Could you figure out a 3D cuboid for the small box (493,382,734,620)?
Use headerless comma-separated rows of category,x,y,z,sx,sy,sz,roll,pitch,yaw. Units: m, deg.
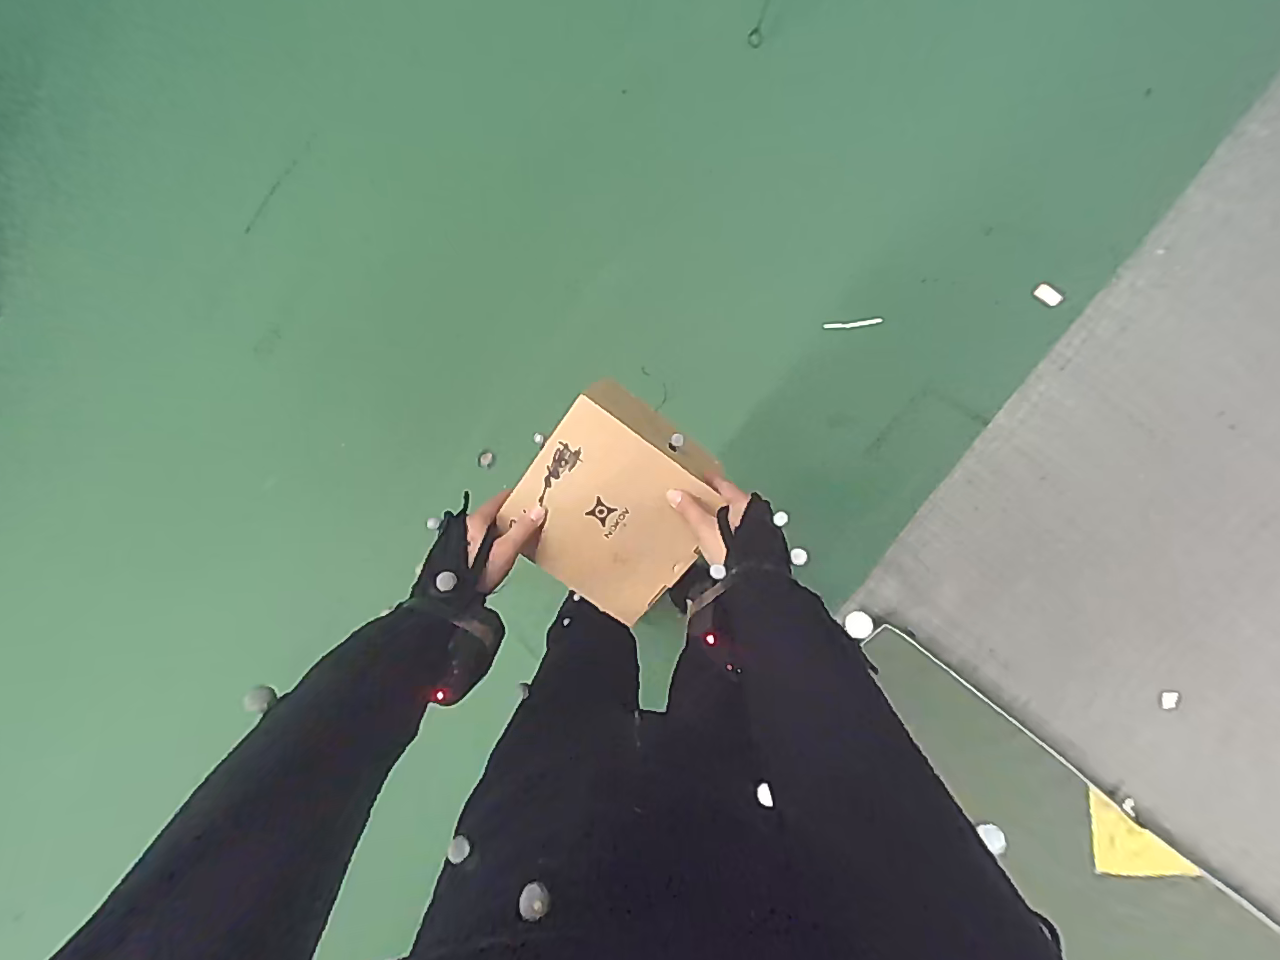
small box,-0.022,0.009,0.590,0.179,0.176,0.168,37,105,-7
